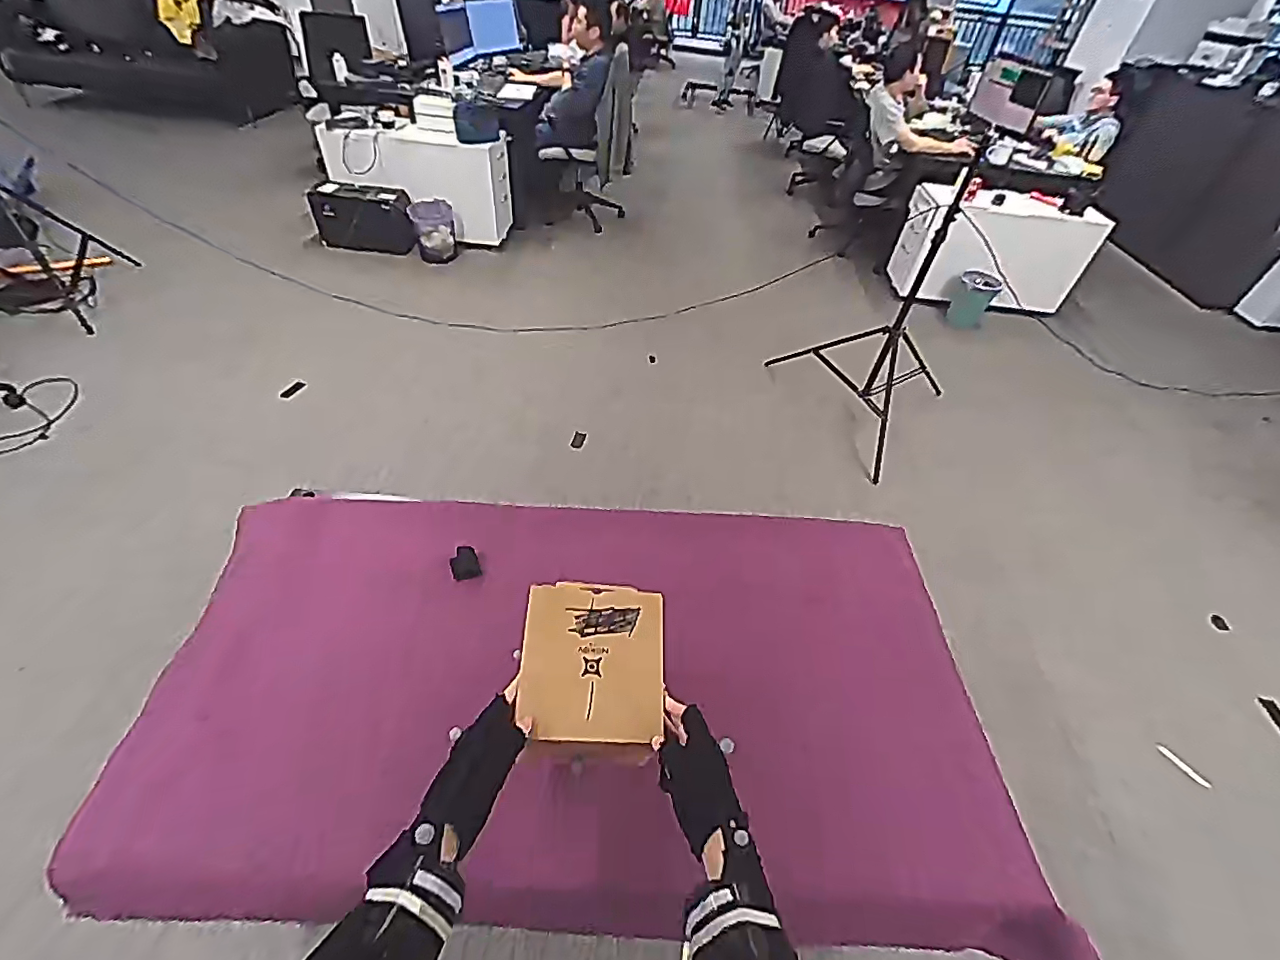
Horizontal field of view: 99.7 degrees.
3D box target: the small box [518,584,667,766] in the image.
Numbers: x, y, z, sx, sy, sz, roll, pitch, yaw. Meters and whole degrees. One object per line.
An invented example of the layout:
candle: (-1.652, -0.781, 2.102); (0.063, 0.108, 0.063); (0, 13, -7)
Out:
small box: (-0.061, 0.254, 0.696); (0.168, 0.176, 0.179); (5, 54, -6)
